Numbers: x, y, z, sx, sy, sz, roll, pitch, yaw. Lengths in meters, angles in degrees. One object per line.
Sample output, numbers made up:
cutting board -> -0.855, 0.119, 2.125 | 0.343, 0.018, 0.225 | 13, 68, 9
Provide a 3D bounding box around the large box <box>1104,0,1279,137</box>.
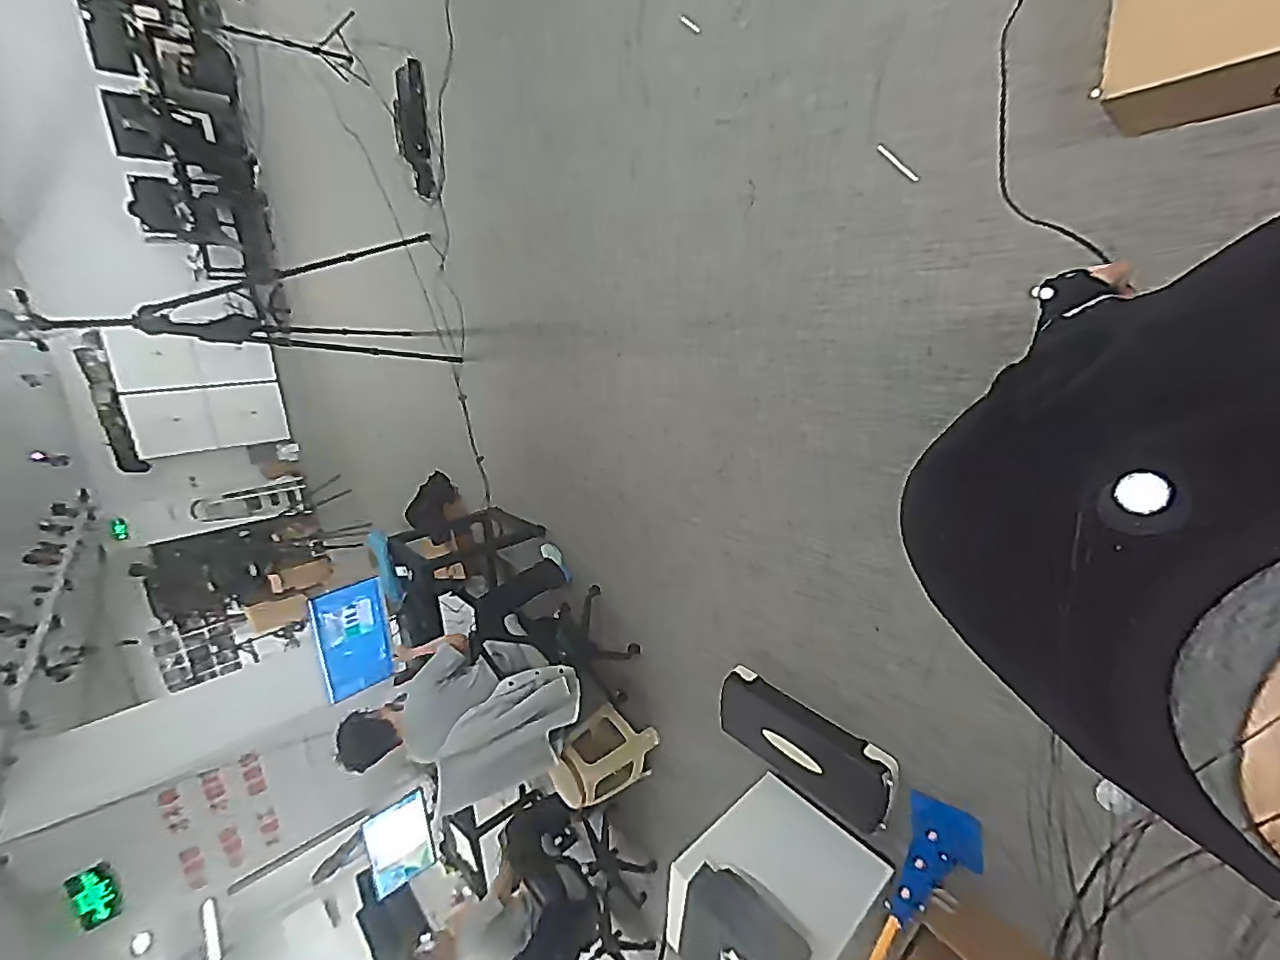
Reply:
large box -> 0.988, -0.758, 0.791 | 0.408, 0.320, 0.320 | 13, 111, 47
